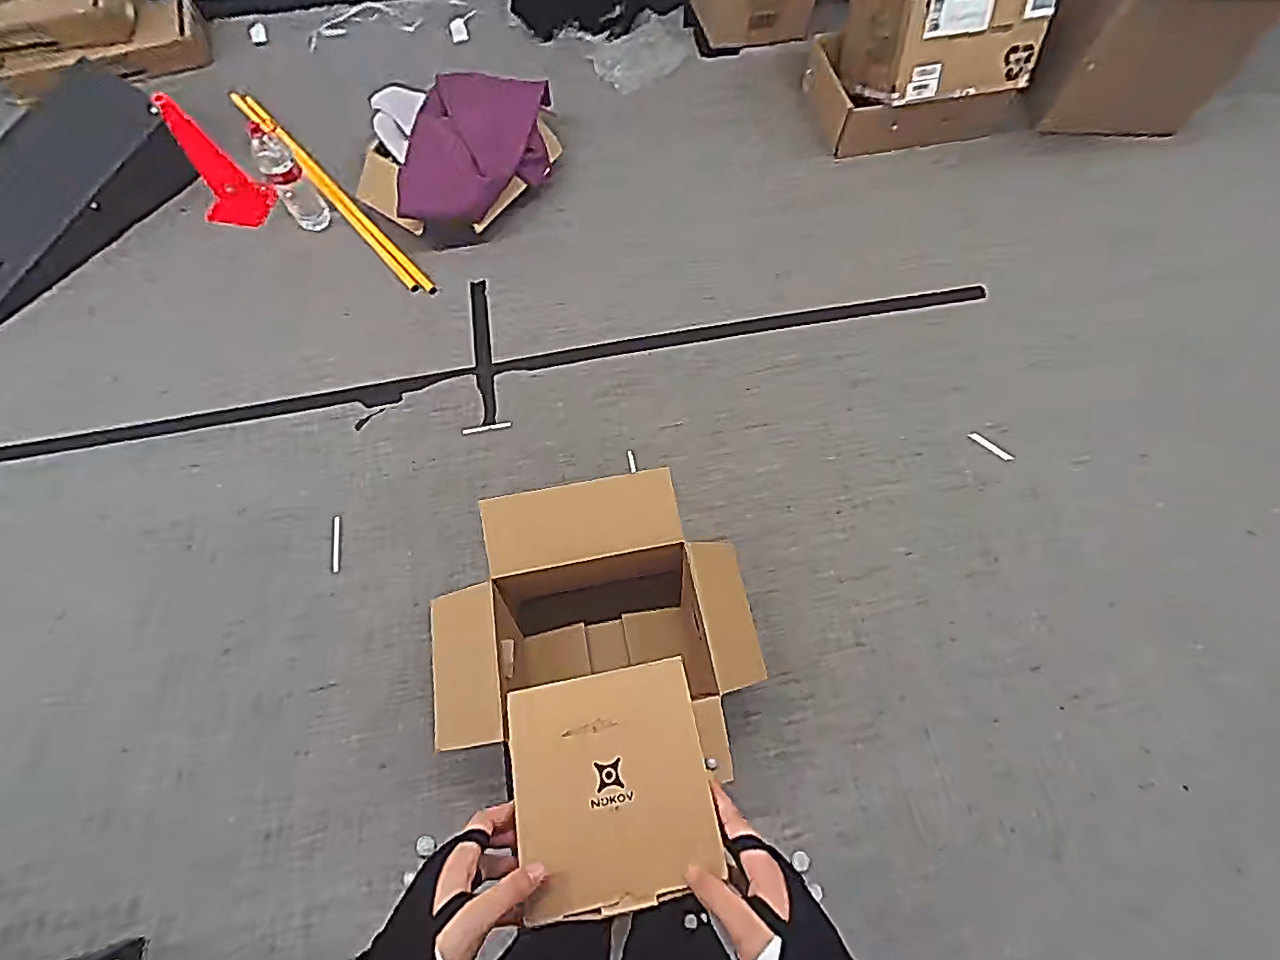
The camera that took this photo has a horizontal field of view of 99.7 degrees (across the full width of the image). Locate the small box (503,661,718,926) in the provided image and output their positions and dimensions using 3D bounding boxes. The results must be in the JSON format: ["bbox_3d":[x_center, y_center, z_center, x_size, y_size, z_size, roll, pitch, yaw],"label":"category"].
[{"bbox_3d":[-0.026,0.296,0.536,0.168,0.176,0.179,-12,62,-3],"label":"small box"}]
